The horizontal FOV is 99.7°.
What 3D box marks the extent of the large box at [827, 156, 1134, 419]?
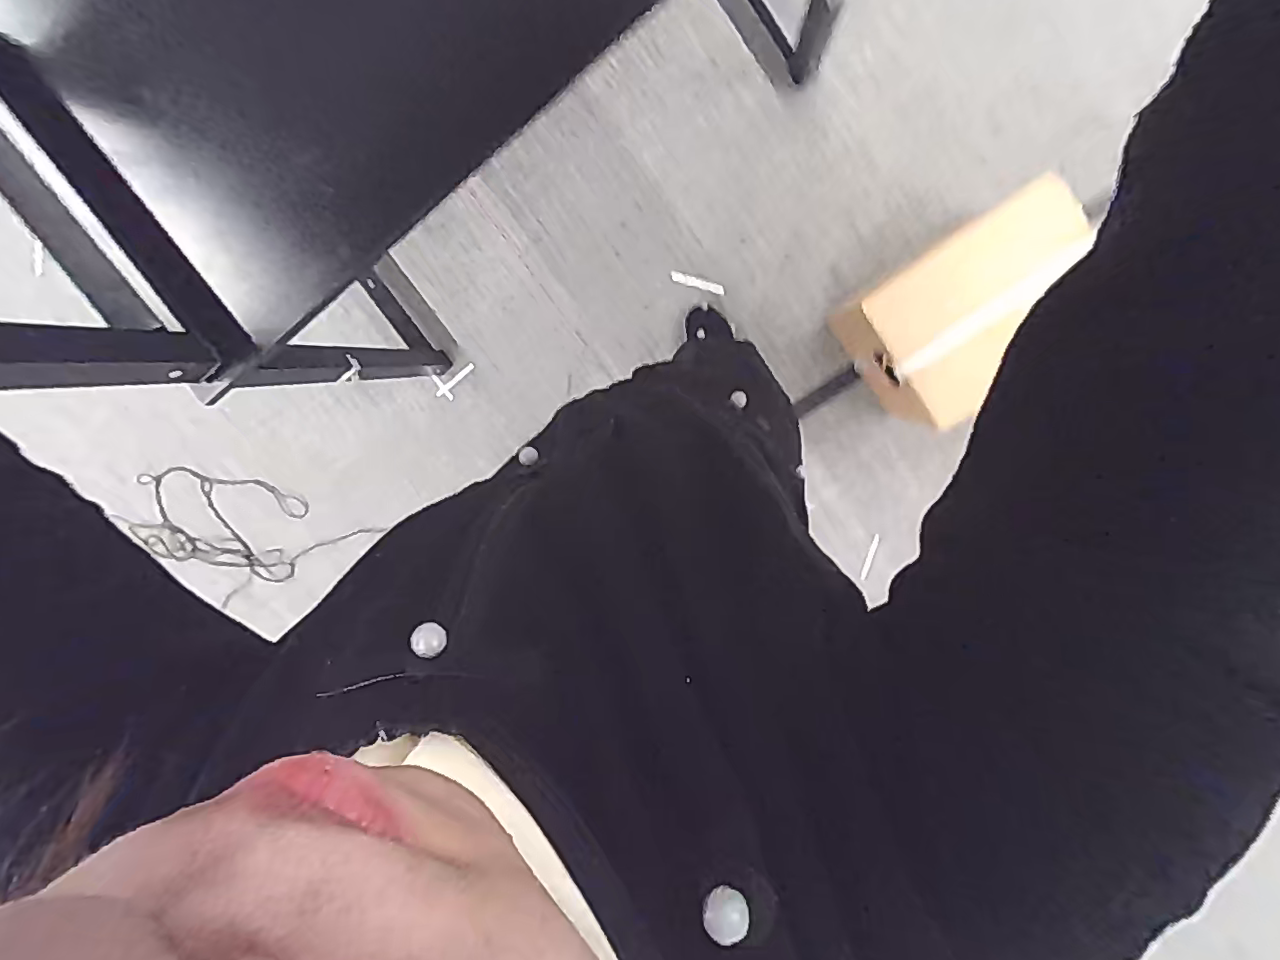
[{"bbox_3d":[0.689,-0.381,1.172,0.408,0.320,0.320,-35,98,12],"label":"large box"}]
